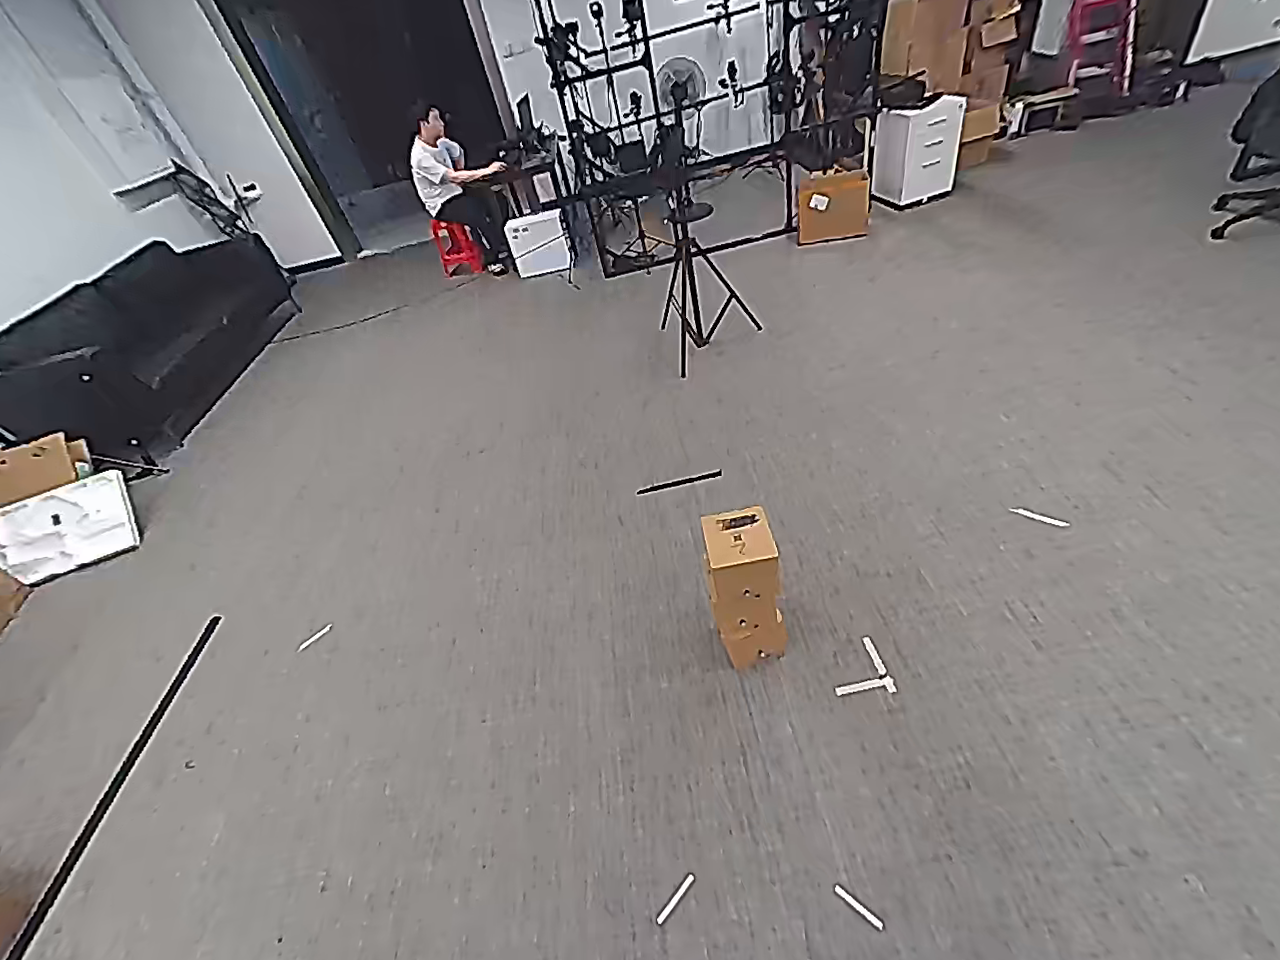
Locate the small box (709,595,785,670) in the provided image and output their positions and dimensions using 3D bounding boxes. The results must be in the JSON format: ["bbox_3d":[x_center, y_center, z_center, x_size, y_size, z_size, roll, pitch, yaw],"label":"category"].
[{"bbox_3d":[0.322,0.432,1.624,0.168,0.176,0.179,-20,41,-5],"label":"small box"}]

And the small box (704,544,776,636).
[{"bbox_3d":[0.282,0.311,1.523,0.168,0.176,0.179,-12,41,4],"label":"small box"}]
